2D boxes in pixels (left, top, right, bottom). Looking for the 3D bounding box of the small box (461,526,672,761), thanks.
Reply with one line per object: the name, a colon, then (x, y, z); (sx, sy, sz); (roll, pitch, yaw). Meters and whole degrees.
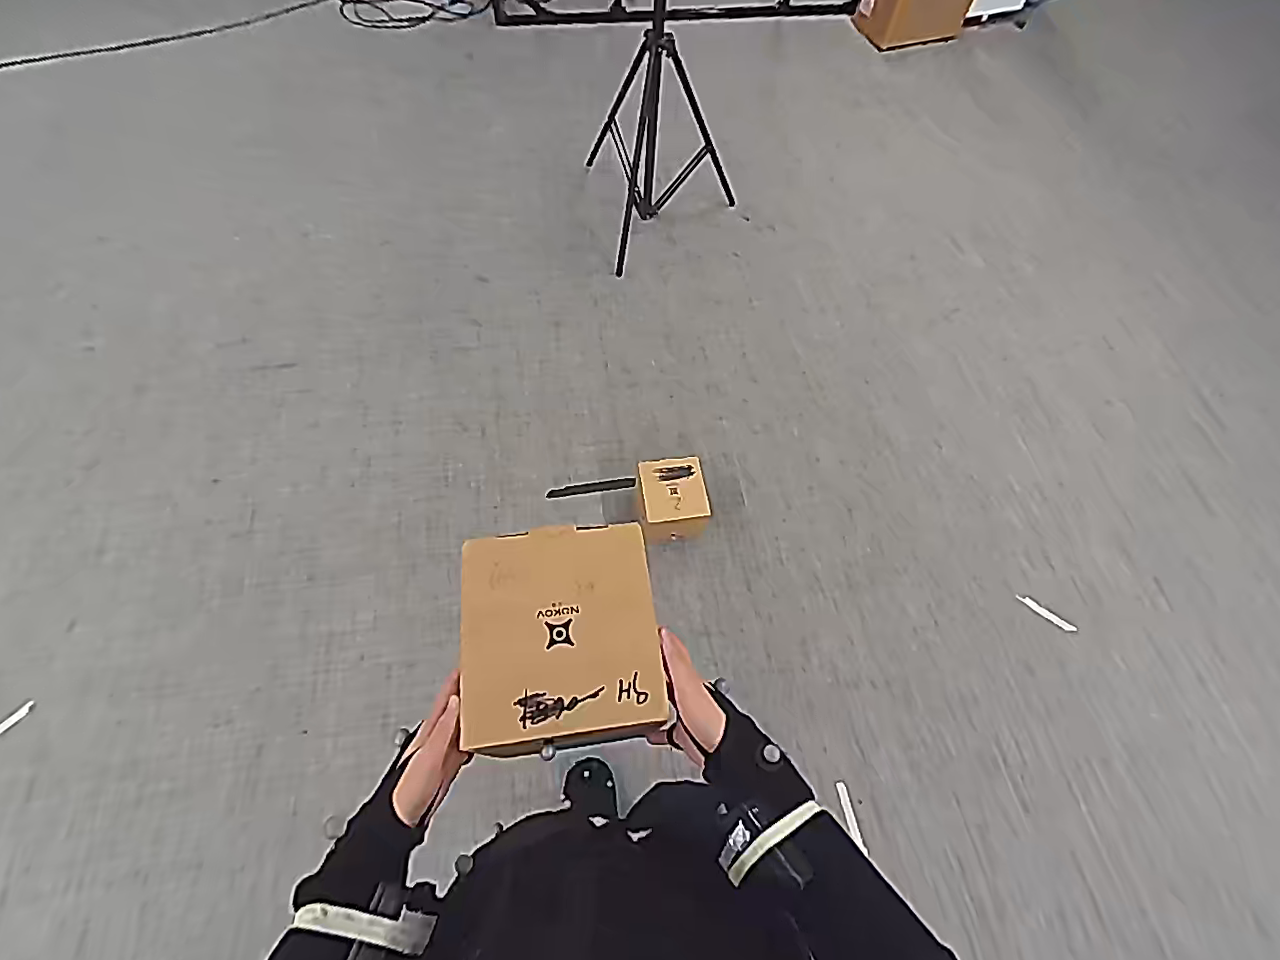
small box: (-0.072, 0.163, 0.528); (0.168, 0.176, 0.179); (-5, 61, -7)
